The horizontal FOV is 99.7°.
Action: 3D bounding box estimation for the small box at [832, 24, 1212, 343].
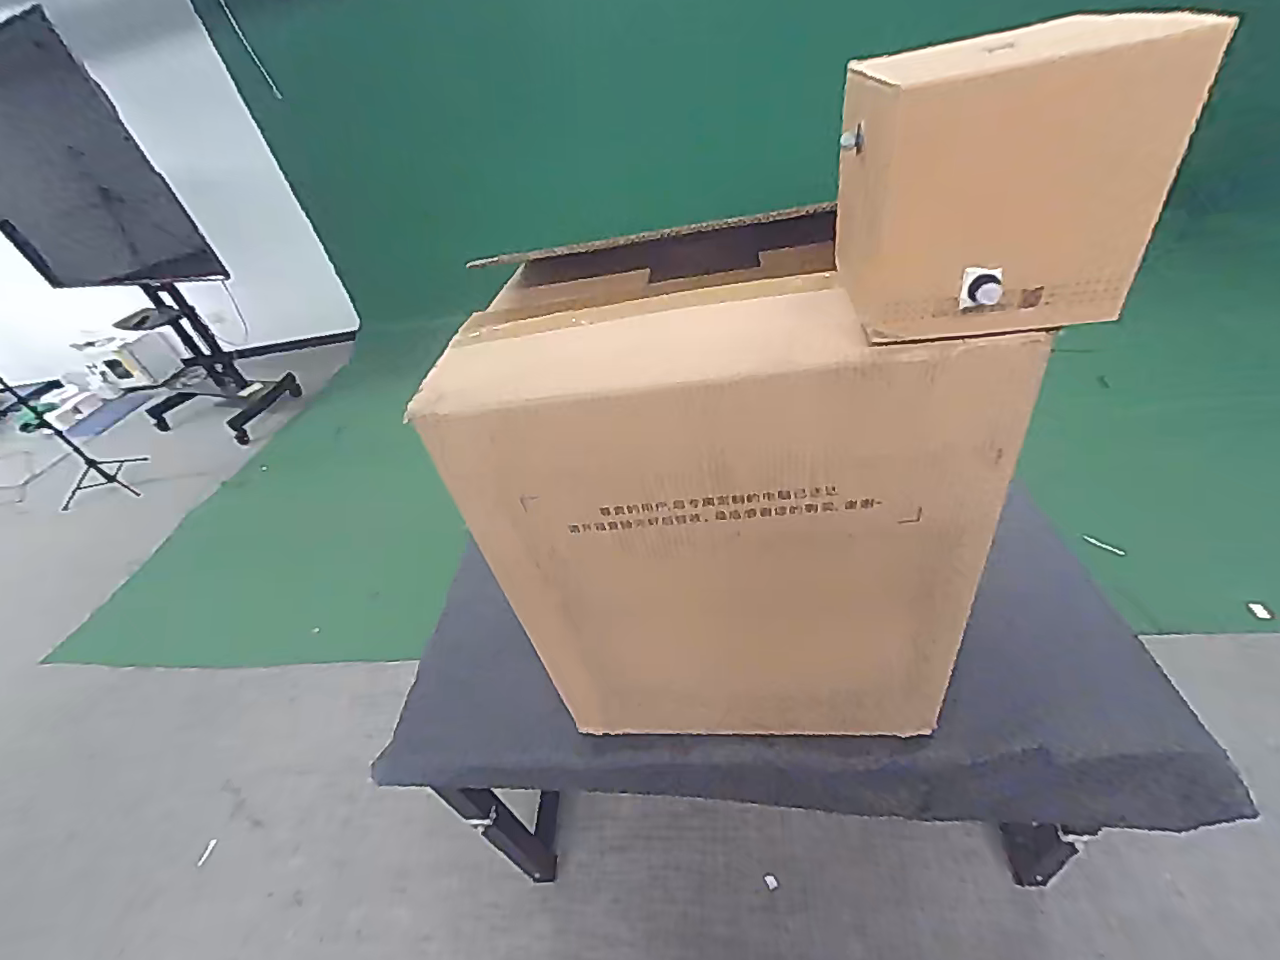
[{"bbox_3d":[0.249,-0.225,0.417,0.168,0.176,0.179,-5,40,11],"label":"small box"}]
